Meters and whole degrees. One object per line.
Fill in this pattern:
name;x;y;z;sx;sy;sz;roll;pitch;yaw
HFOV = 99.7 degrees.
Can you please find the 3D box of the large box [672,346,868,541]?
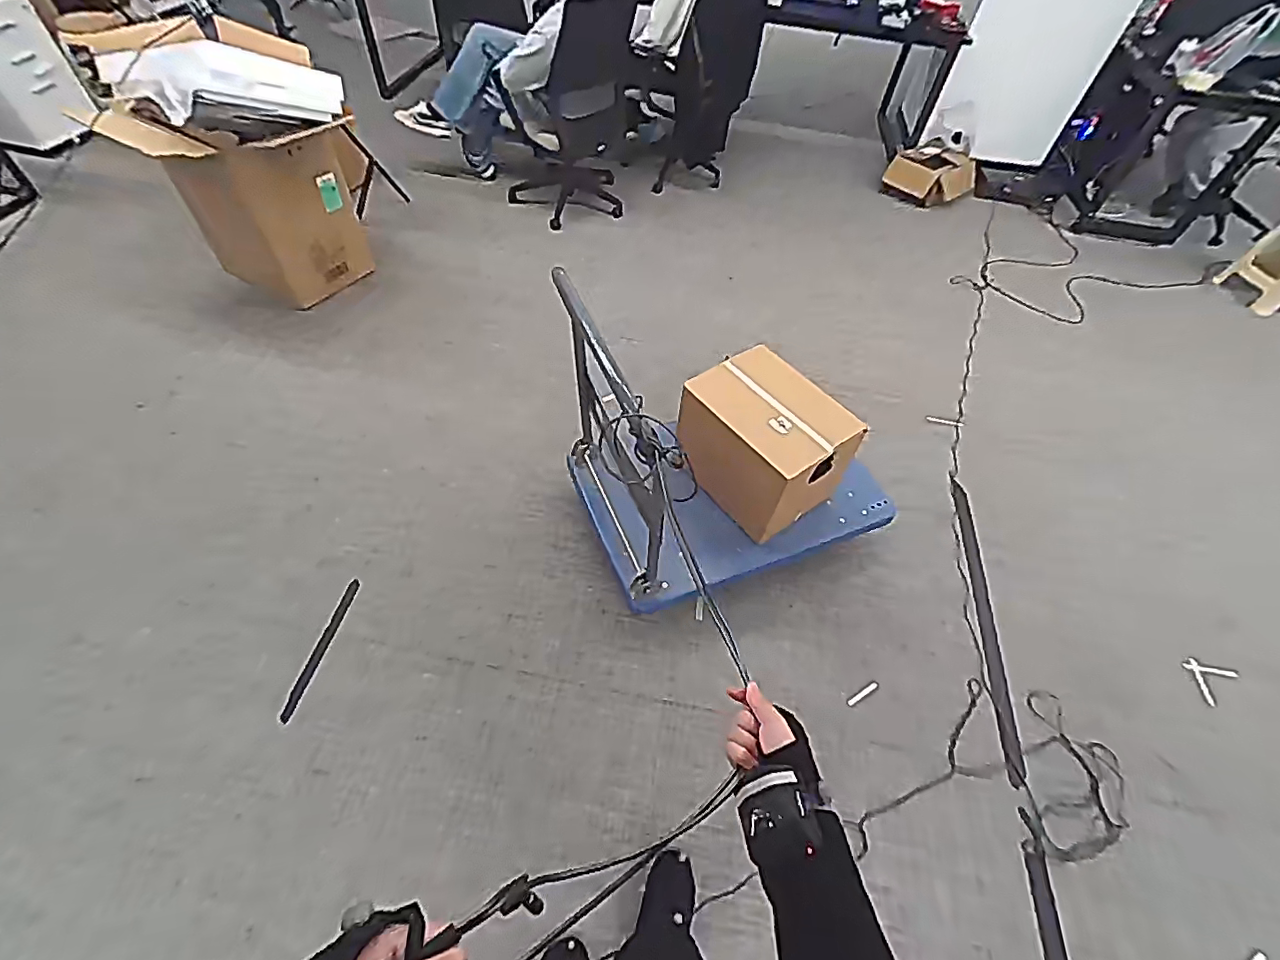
large box;0.345;-0.108;1.550;0.320;0.320;0.408;-30;62;-23
